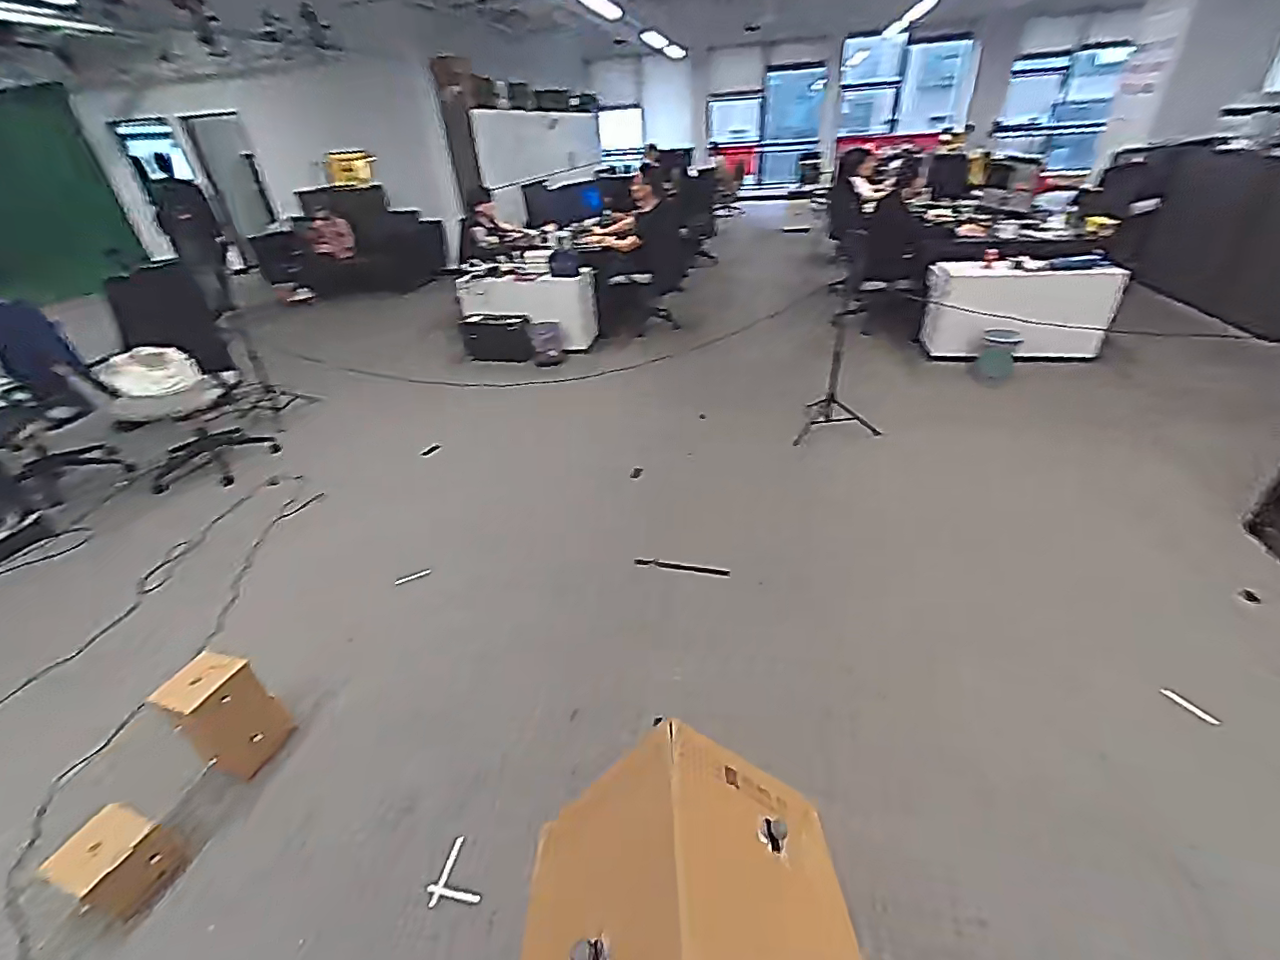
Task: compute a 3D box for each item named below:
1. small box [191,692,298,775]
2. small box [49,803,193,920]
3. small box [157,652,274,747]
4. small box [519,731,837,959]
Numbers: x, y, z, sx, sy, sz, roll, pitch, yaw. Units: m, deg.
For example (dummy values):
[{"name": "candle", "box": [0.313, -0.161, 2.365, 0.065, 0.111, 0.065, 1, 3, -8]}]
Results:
[{"name": "small box", "box": [-1.193, 0.763, 1.648, 0.168, 0.176, 0.179, 7, 35, 16]}, {"name": "small box", "box": [-1.290, 0.960, 1.359, 0.179, 0.176, 0.168, 8, 34, 19]}, {"name": "small box", "box": [-1.204, 0.630, 1.550, 0.168, 0.176, 0.179, 8, 34, 17]}, {"name": "small box", "box": [0.026, 0.327, 0.391, 0.168, 0.179, 0.176, 36, 19, -16]}]
